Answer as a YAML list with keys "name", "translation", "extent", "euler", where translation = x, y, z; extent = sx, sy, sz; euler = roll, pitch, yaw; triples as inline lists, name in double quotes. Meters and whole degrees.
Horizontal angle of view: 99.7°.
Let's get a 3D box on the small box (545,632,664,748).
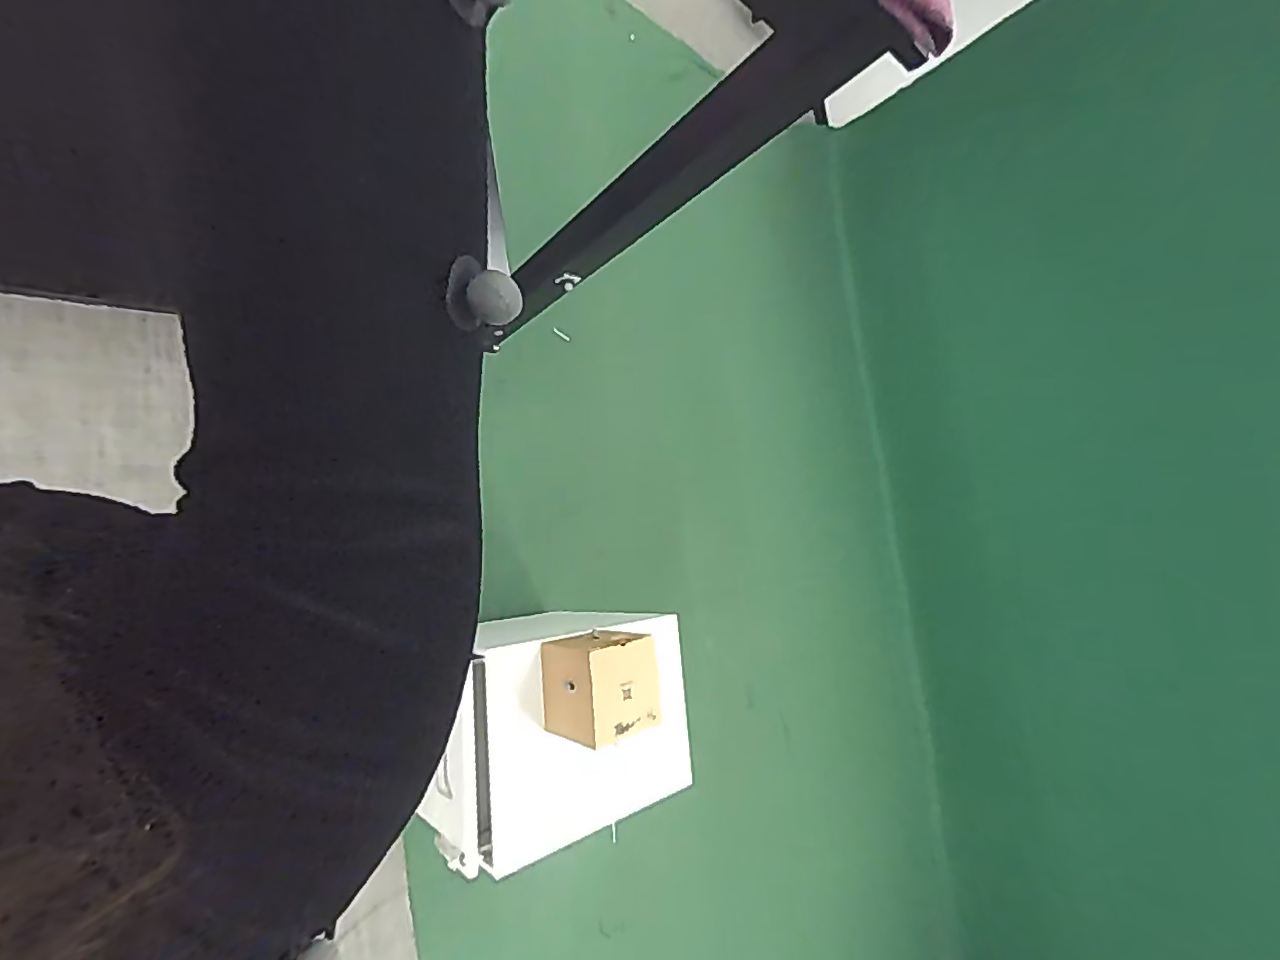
- name: "small box"
  translation: [-0.074, 0.398, 1.062]
  extent: [0.168, 0.176, 0.179]
  euler: [1, 81, -42]
